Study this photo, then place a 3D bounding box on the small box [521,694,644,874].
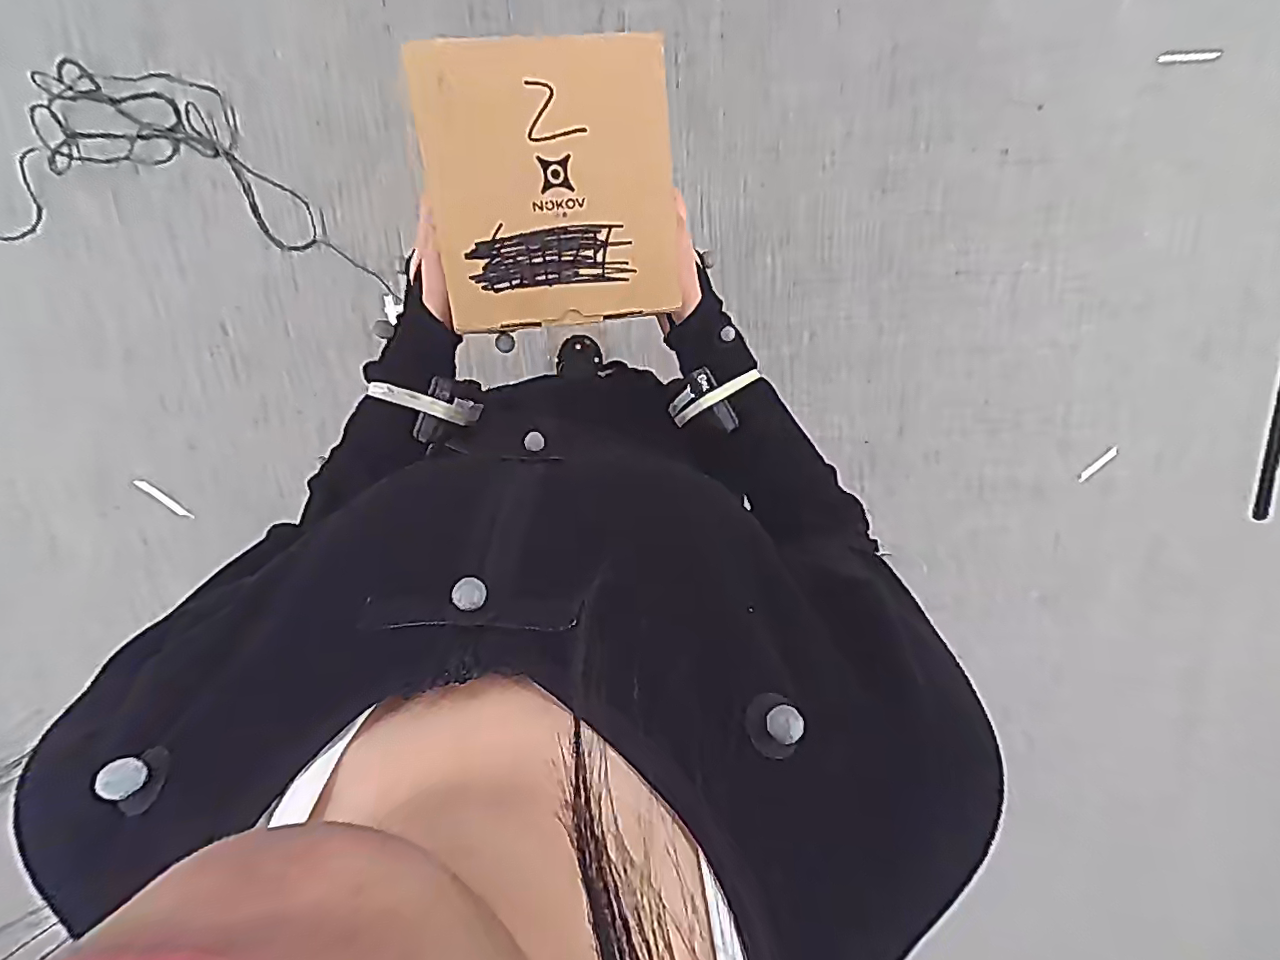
[{"bbox_3d":[-0.085,0.471,0.857,0.168,0.176,0.179,-6,102,-3],"label":"small box"}]
